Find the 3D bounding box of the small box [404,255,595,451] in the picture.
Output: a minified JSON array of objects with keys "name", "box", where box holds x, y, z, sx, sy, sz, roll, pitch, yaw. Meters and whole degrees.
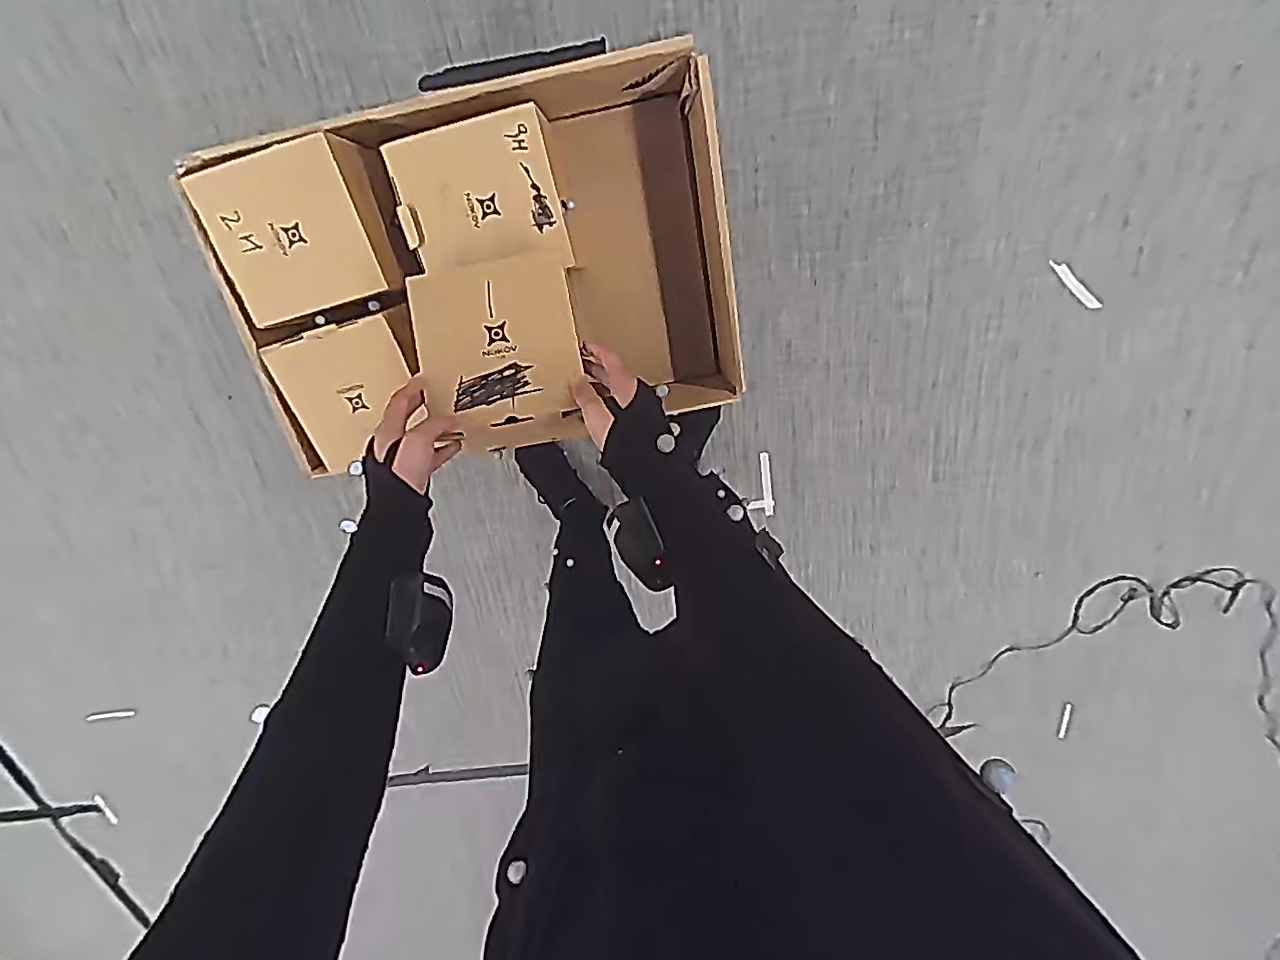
[{"name":"small box","box":[-0.151,-0.133,0.639,0.168,0.176,0.179,-11,87,-1]}]
